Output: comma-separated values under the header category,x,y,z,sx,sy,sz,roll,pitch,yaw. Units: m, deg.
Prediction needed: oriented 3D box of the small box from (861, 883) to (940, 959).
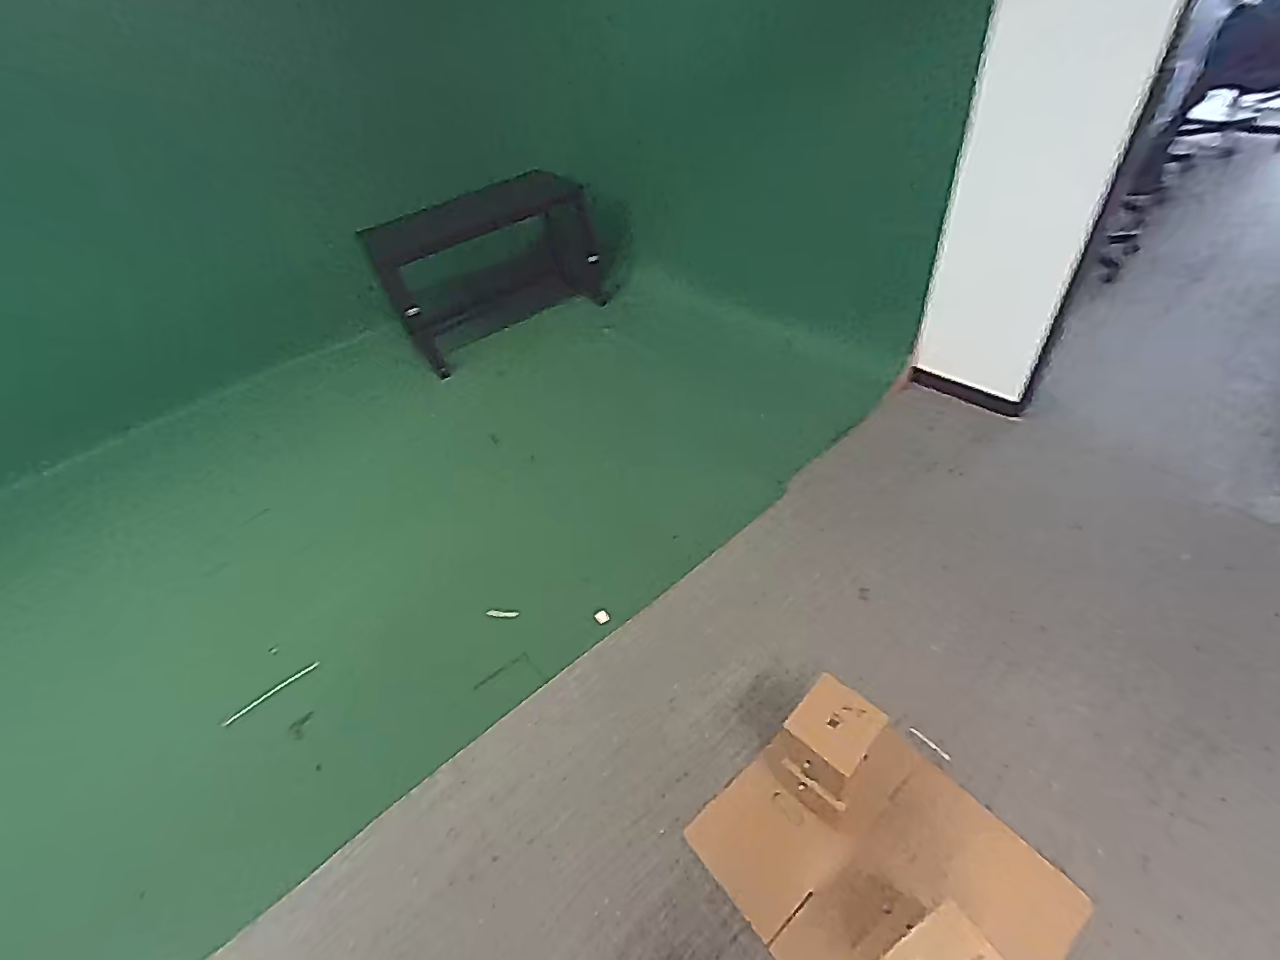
category,x,y,z,sx,sy,sz,roll,pitch,yaw
small box,0.571,0.972,1.094,0.179,0.176,0.168,-30,46,-18

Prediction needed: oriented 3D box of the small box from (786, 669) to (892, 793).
category,x,y,z,sx,sy,sz,roll,pitch,yaw
small box,0.460,0.592,1.268,0.179,0.176,0.168,-38,51,-25

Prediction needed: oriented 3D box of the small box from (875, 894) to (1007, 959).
category,x,y,z,sx,sy,sz,roll,pitch,yaw
small box,0.541,0.884,0.953,0.179,0.176,0.168,-26,46,-16

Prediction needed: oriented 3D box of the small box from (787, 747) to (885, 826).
category,x,y,z,sx,sy,sz,roll,pitch,yaw
small box,0.485,0.725,1.366,0.179,0.176,0.168,-39,51,-25
